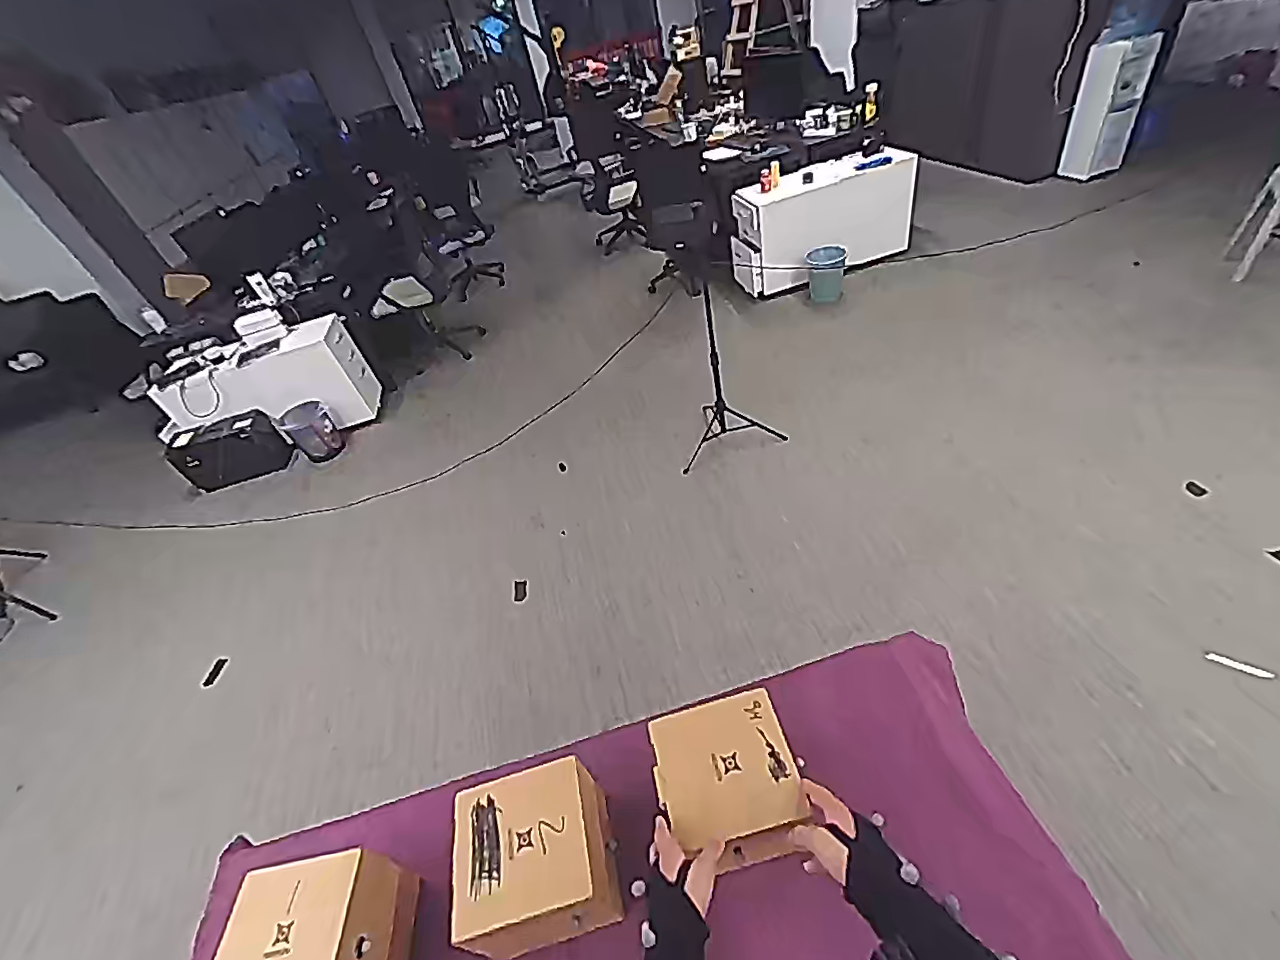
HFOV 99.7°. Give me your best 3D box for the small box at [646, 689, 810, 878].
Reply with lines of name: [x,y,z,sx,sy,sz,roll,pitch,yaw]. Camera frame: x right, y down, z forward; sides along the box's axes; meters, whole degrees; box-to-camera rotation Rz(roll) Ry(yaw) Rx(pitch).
small box: [0.124,0.423,0.748,0.179,0.176,0.168,-17,45,1]

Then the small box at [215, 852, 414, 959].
small box: [-0.420,0.622,0.706,0.168,0.176,0.179,-14,41,2]
